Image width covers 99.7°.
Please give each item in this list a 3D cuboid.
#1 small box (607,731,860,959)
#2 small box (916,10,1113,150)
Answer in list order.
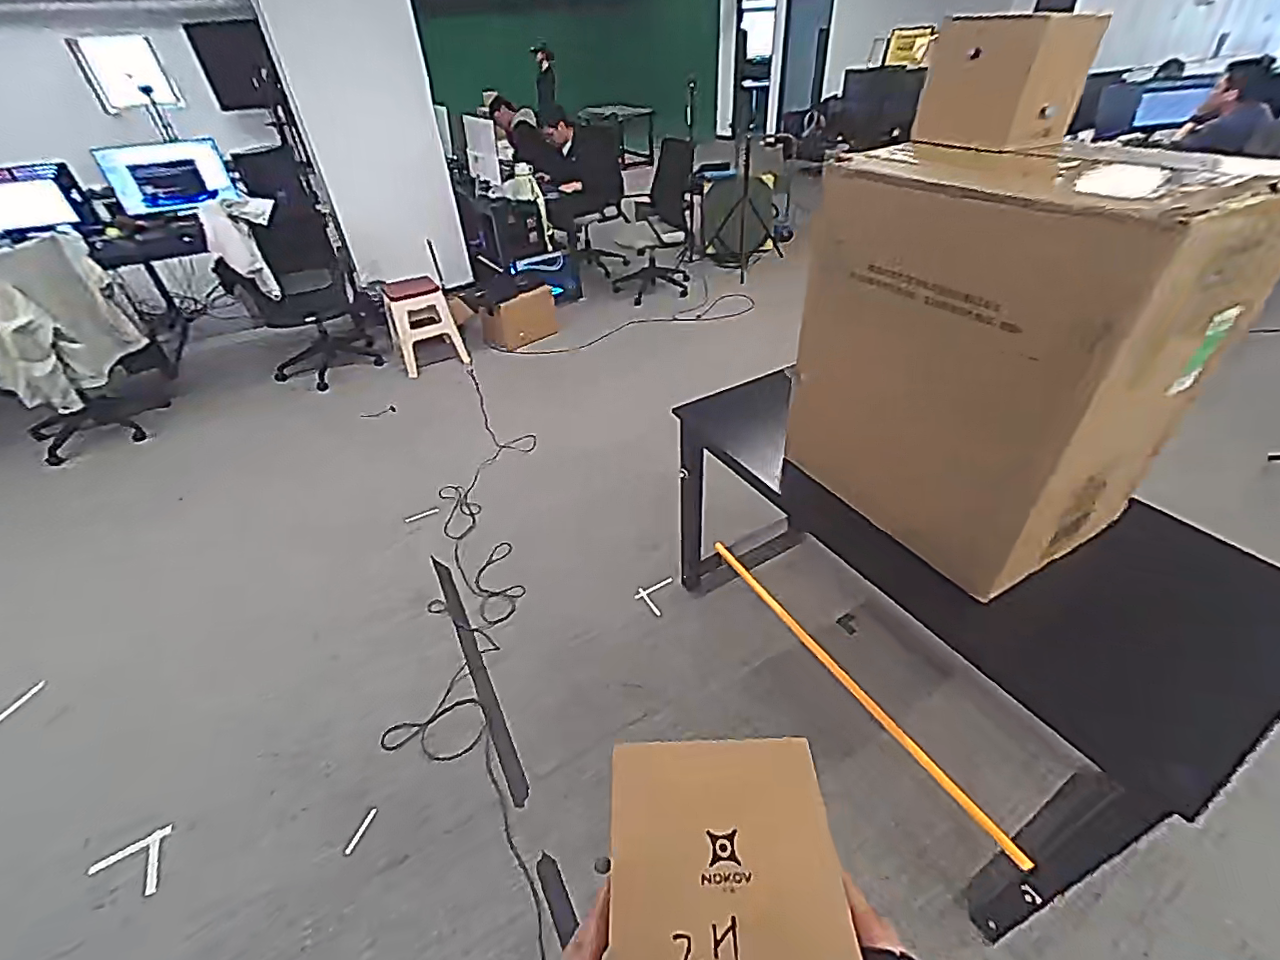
[{"bbox_3d":[0.062,0.332,0.444,0.168,0.176,0.179,-3,41,1],"label":"small box"},{"bbox_3d":[0.589,-0.643,0.876,0.168,0.176,0.179,-20,43,-22],"label":"small box"}]
